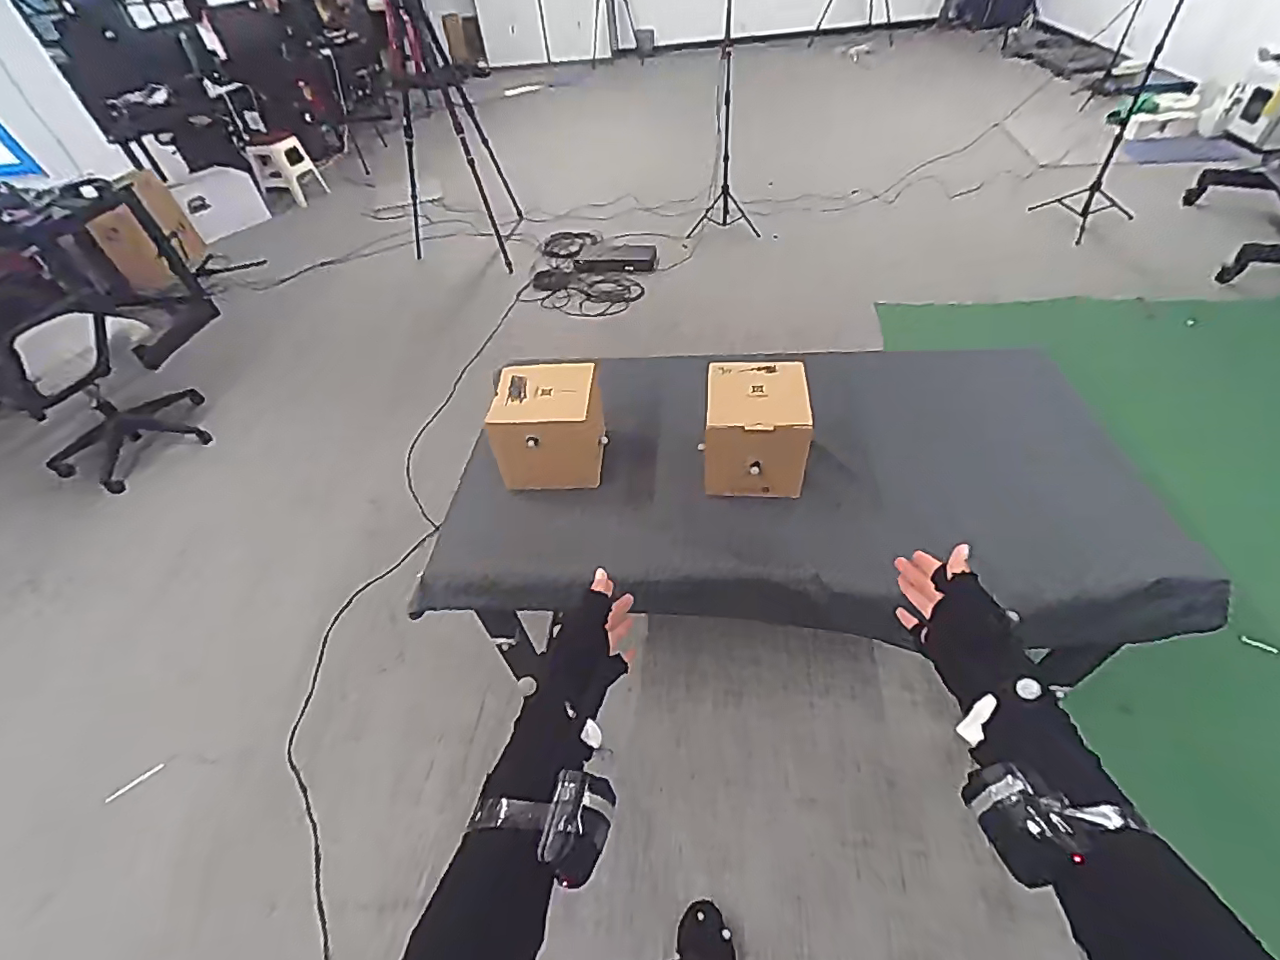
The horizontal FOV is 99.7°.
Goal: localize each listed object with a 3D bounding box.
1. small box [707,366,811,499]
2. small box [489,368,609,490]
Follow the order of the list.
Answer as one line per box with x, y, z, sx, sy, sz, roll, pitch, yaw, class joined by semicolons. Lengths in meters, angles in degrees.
0.206;-0.082;0.963;0.168;0.176;0.179;1;47;8;small box
-0.160;-0.093;1.017;0.179;0.176;0.168;-1;47;4;small box
